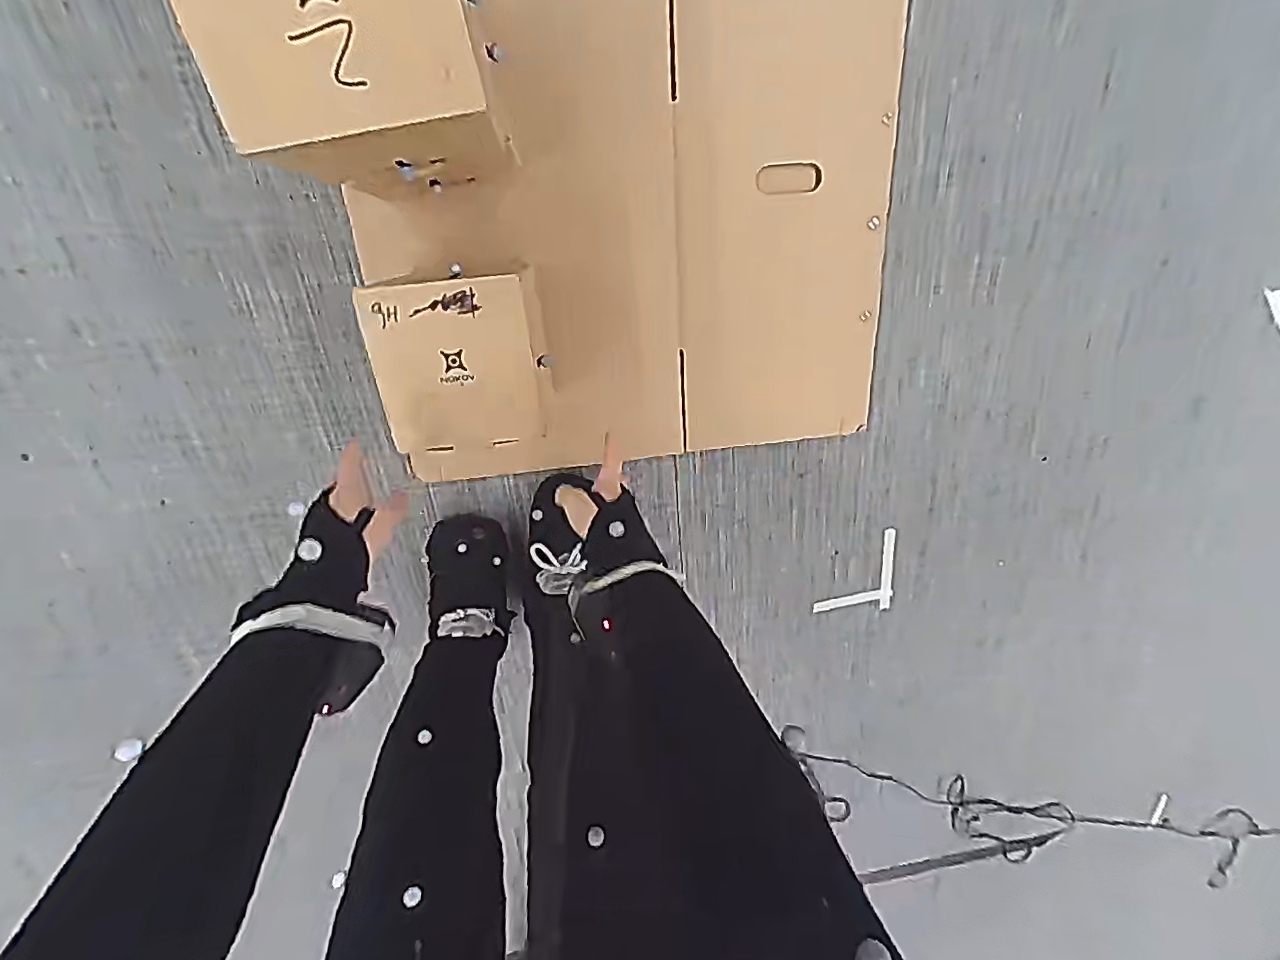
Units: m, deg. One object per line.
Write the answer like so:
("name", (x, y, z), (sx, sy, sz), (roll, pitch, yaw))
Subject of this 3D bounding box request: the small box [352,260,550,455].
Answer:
("small box", (-0.199, -0.150, 0.631), (0.168, 0.176, 0.179), (-9, 117, -5))

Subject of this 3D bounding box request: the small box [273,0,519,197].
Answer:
("small box", (-0.227, -0.404, 0.541), (0.168, 0.176, 0.179), (-16, 114, -3))
